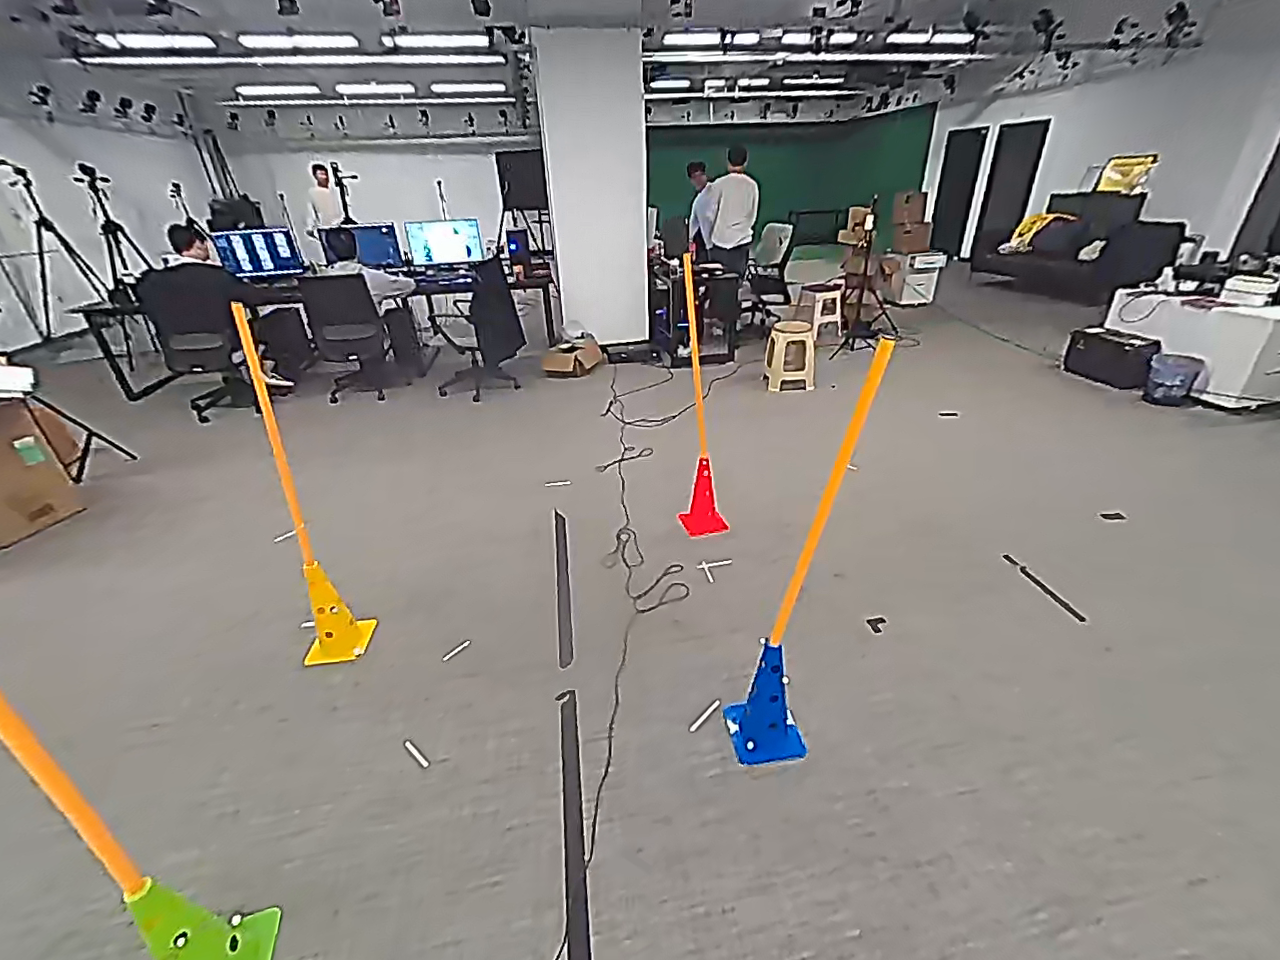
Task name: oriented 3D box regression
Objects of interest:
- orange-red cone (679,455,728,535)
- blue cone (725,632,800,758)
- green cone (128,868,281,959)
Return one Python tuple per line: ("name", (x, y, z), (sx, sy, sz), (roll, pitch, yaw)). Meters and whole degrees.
("orange-red cone", (0.291, 0.051, 2.495), (0.199, 0.360, 0.198), (-10, 29, -11))
("blue cone", (0.355, 0.589, 1.525), (0.193, 0.380, 0.192), (-5, 28, -5))
("green cone", (-0.892, 0.887, 1.058), (0.200, 0.368, 0.202), (-12, 28, -16))
